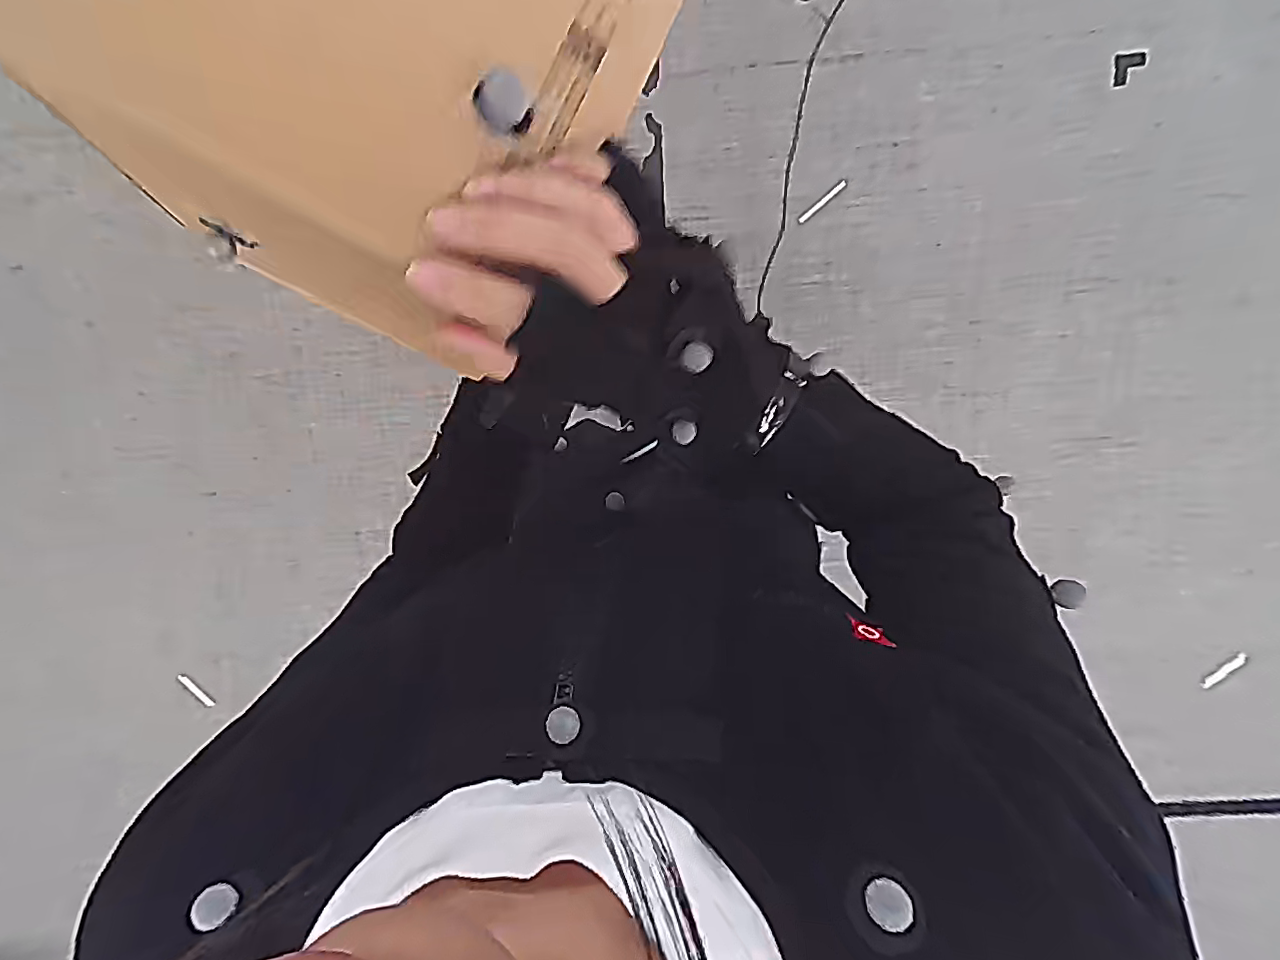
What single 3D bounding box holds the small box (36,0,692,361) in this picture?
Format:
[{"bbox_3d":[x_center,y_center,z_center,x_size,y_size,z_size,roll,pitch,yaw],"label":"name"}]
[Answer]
[{"bbox_3d":[-0.104,-0.176,0.269,0.176,0.179,0.168,25,83,-22],"label":"small box"}]
